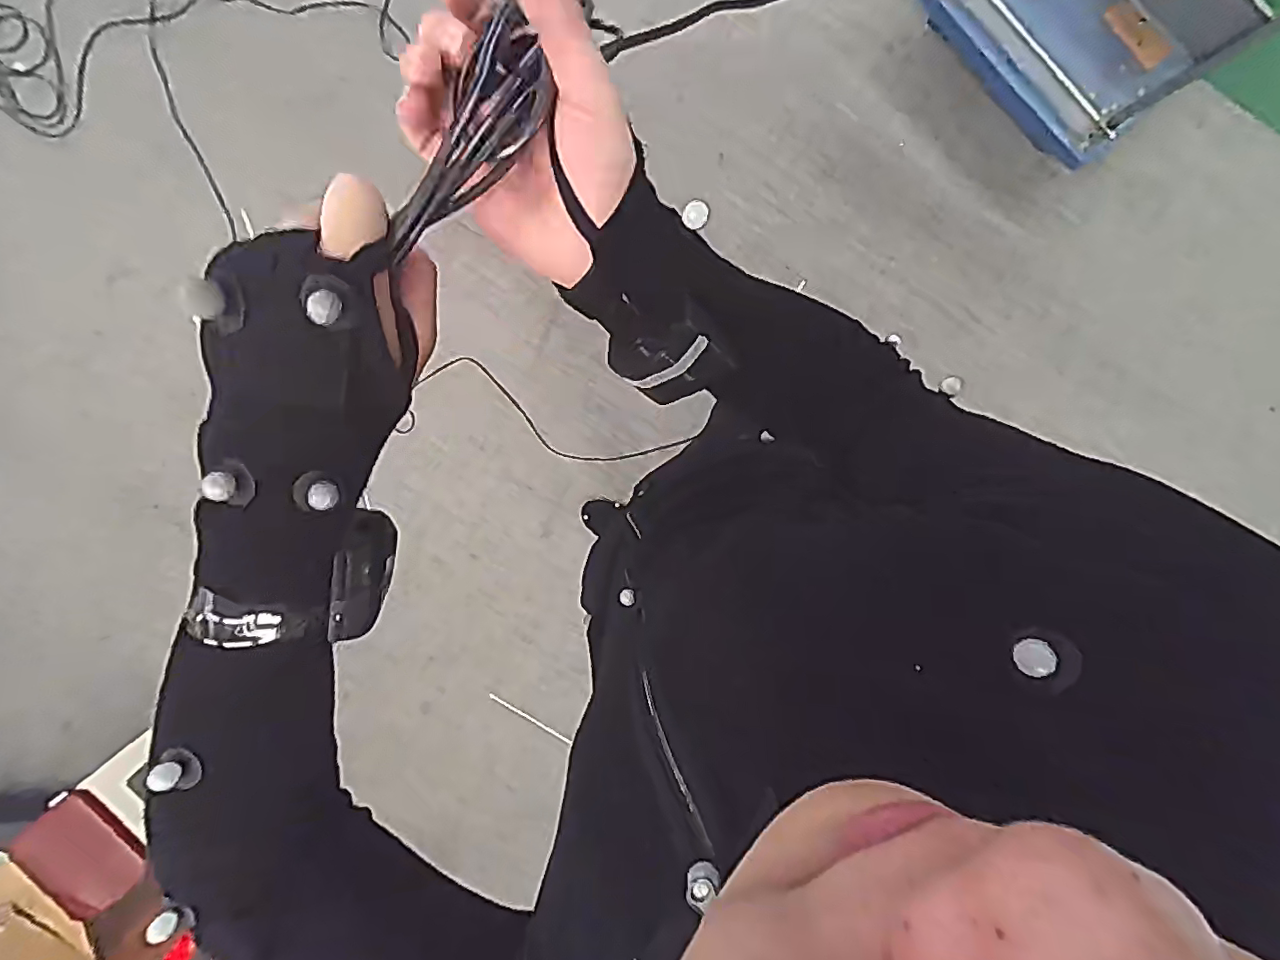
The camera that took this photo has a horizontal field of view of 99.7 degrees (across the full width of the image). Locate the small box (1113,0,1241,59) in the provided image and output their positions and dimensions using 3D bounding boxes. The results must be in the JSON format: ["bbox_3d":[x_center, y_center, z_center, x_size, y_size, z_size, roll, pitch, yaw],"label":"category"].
[{"bbox_3d":[1.151,-1.037,1.111,0.179,0.176,0.168,-44,95,9],"label":"small box"}]
